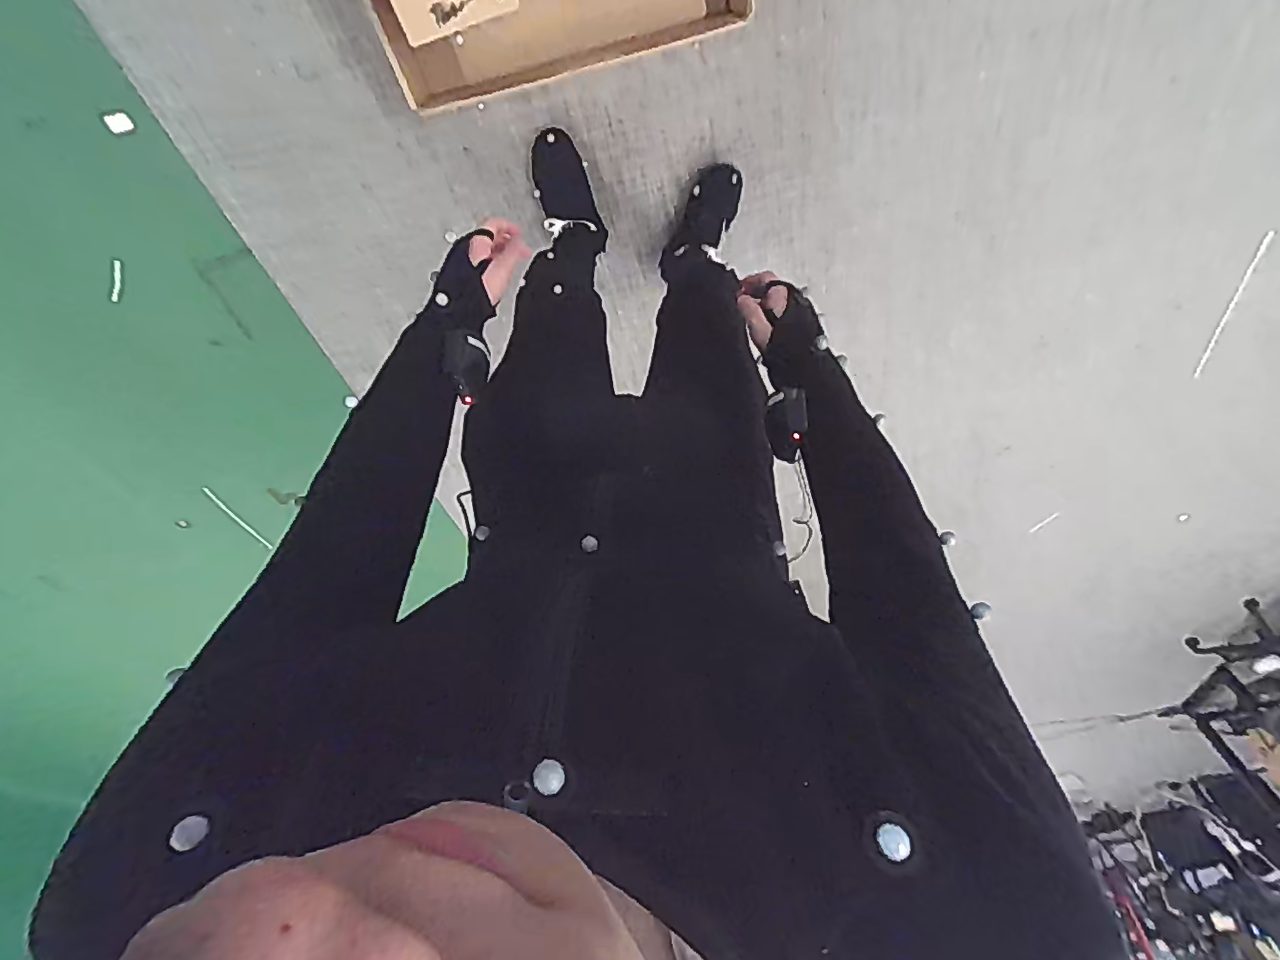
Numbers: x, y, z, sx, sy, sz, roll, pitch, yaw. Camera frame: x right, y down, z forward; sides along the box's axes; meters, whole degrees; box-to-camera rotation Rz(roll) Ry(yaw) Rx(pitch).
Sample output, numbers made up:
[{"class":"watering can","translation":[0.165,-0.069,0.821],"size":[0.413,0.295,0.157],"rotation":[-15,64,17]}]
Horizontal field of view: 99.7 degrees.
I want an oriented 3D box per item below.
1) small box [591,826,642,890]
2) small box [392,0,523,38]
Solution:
[{"class":"small box","translation":[-0.095,1.507,2.160],"size":[0.168,0.176,0.179],"rotation":[-15,133,3]},{"class":"small box","translation":[-0.266,-0.735,0.732],"size":[0.168,0.176,0.179],"rotation":[-14,133,6]}]
